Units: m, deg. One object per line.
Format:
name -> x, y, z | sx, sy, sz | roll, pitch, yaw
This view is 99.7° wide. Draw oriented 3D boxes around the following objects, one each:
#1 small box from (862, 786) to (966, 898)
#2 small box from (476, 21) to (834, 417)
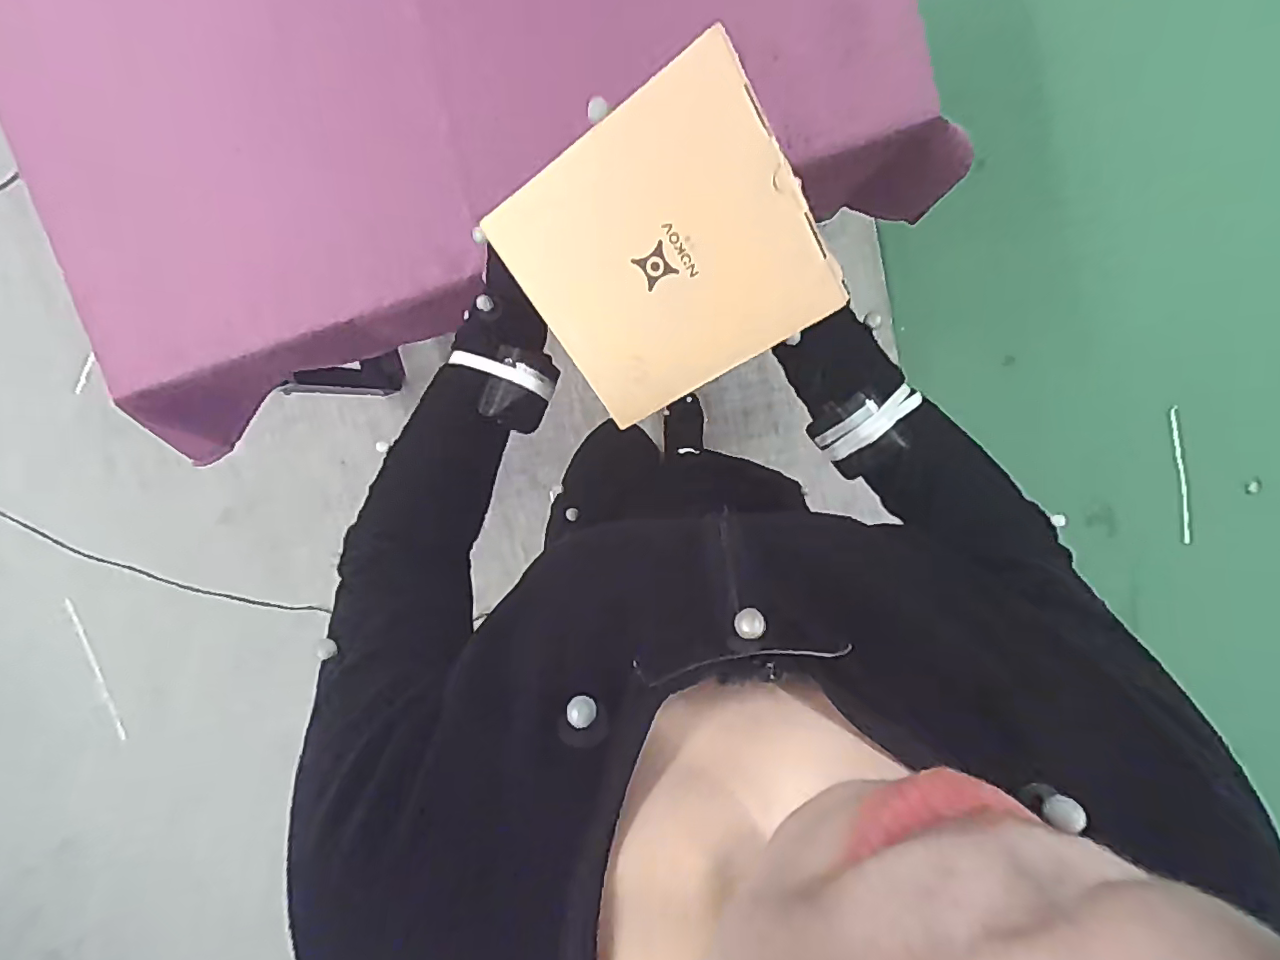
small box -> 0.753, 0.995, 1.509 | 0.168, 0.176, 0.179 | -31, 95, 6
small box -> 0.019, -0.180, 0.408 | 0.179, 0.176, 0.168 | -27, 112, 21
